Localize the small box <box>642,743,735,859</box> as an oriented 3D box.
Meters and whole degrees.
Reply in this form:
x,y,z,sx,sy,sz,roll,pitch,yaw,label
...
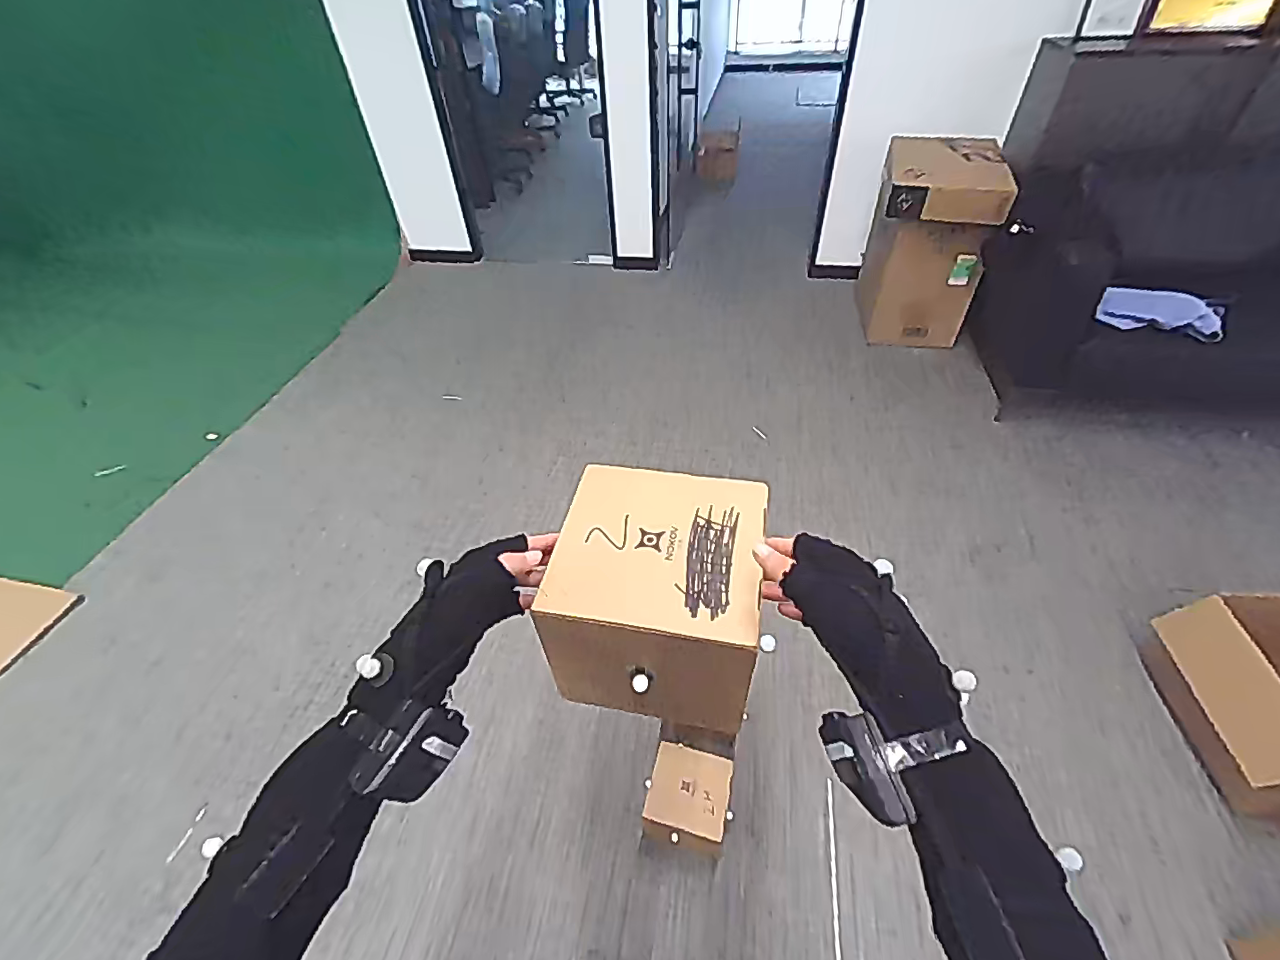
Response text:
x,y,z,sx,sy,sz,roll,pitch,yaw,label
0.113,0.739,1.240,0.179,0.176,0.168,10,46,13,small box

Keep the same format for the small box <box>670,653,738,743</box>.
x,y,z,sx,sy,sz,roll,pitch,yaw,label
0.168,0.570,1.412,0.179,0.176,0.168,3,45,6,small box

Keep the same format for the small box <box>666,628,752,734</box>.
x,y,z,sx,sy,sz,roll,pitch,yaw,label
0.162,0.476,1.273,0.179,0.176,0.168,7,45,11,small box
